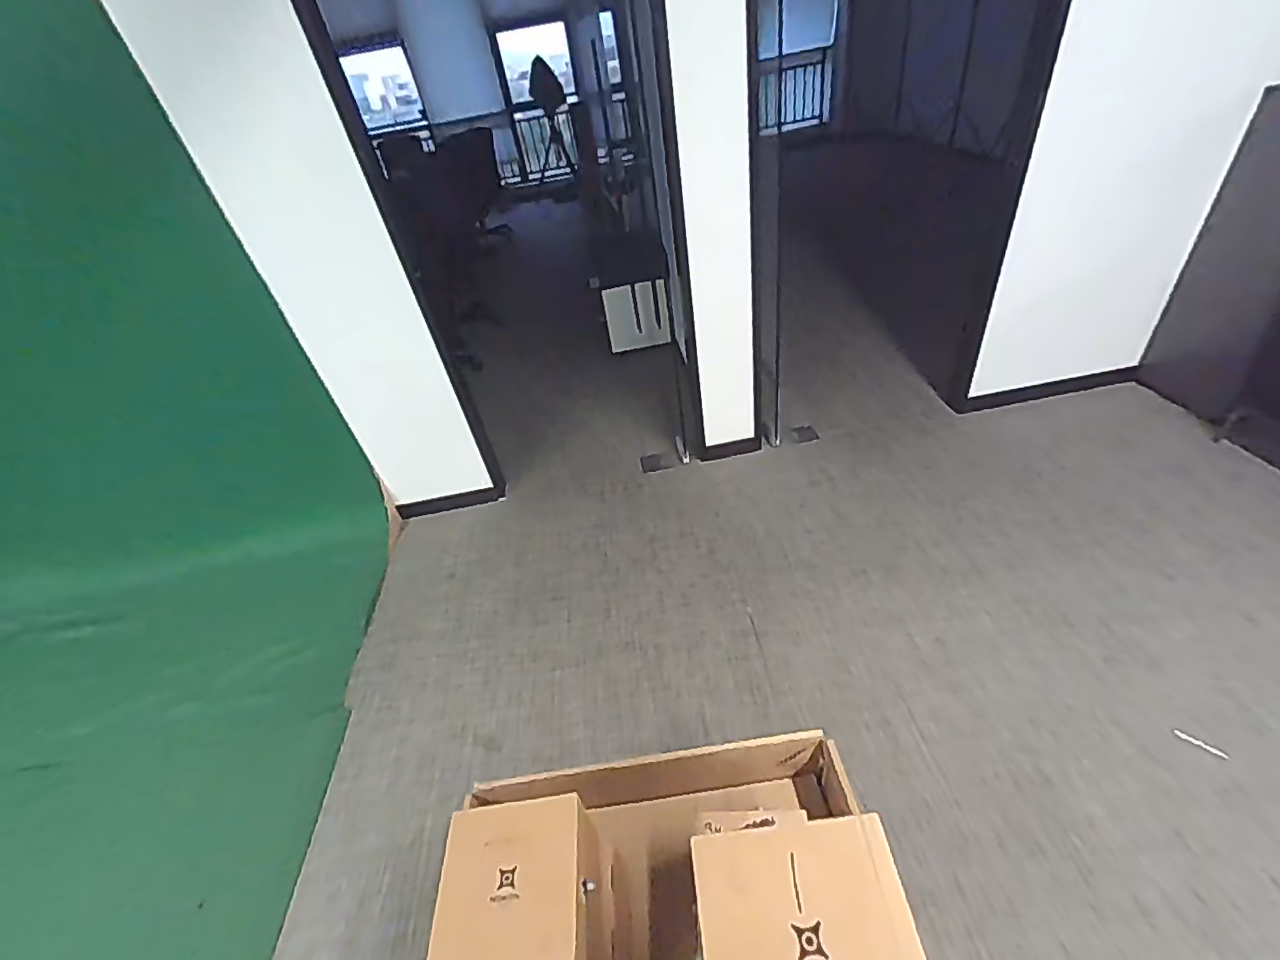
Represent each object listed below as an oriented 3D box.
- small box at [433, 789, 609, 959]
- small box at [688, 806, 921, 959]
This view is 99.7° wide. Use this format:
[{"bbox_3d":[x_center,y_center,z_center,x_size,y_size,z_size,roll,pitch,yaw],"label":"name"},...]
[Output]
[{"bbox_3d":[-0.136,0.527,0.685,0.168,0.176,0.179,-10,38,3],"label":"small box"},{"bbox_3d":[0.145,0.410,0.470,0.168,0.176,0.179,-12,45,6],"label":"small box"}]
